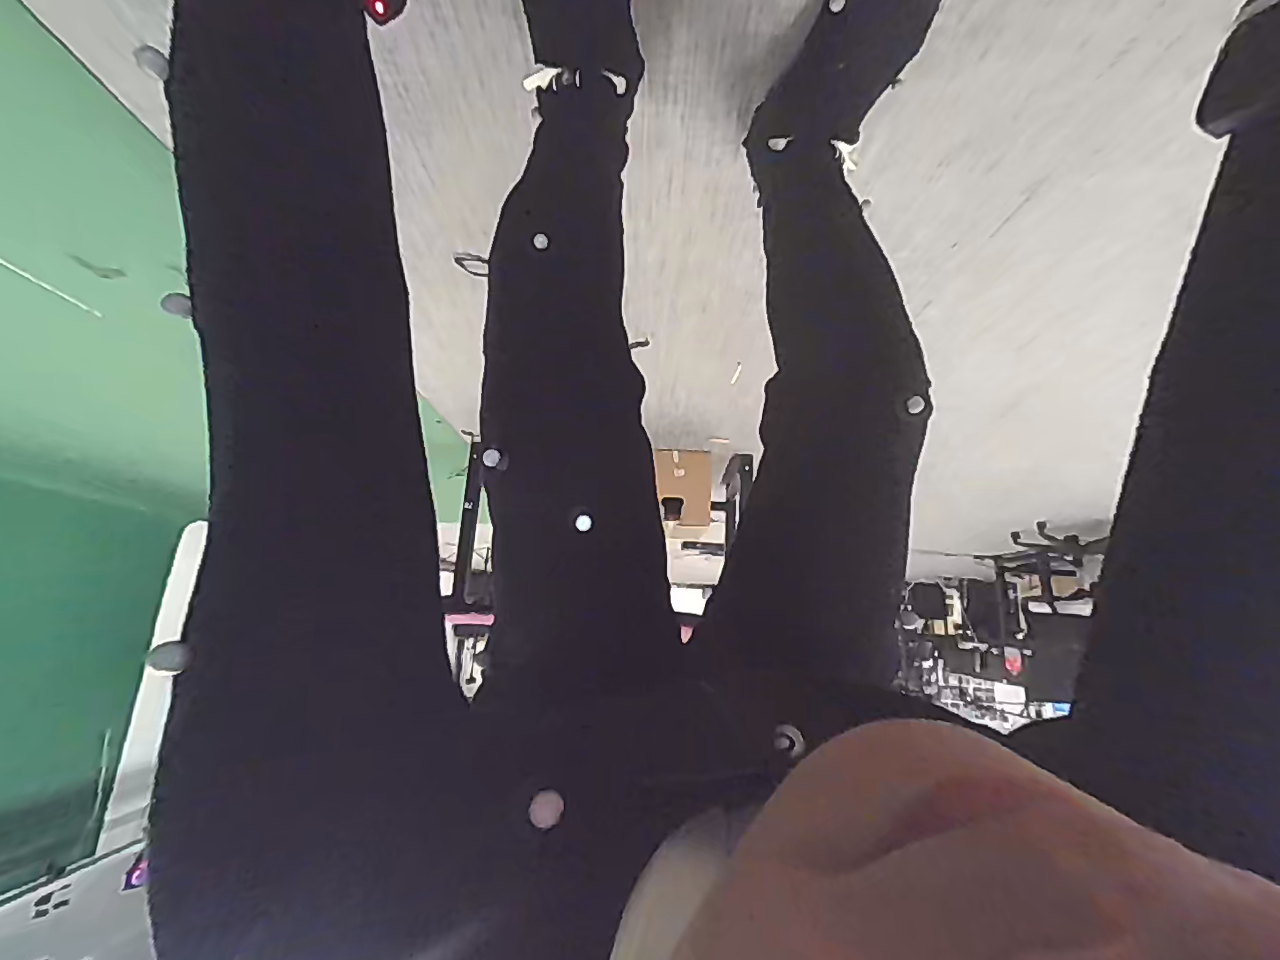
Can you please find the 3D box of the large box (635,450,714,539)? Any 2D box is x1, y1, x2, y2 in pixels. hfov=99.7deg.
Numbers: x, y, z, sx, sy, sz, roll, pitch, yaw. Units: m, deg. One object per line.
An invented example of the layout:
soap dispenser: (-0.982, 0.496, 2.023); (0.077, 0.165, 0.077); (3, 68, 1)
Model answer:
large box: (0.149, 0.072, 2.355); (0.320, 0.320, 0.408); (4, 167, 2)
